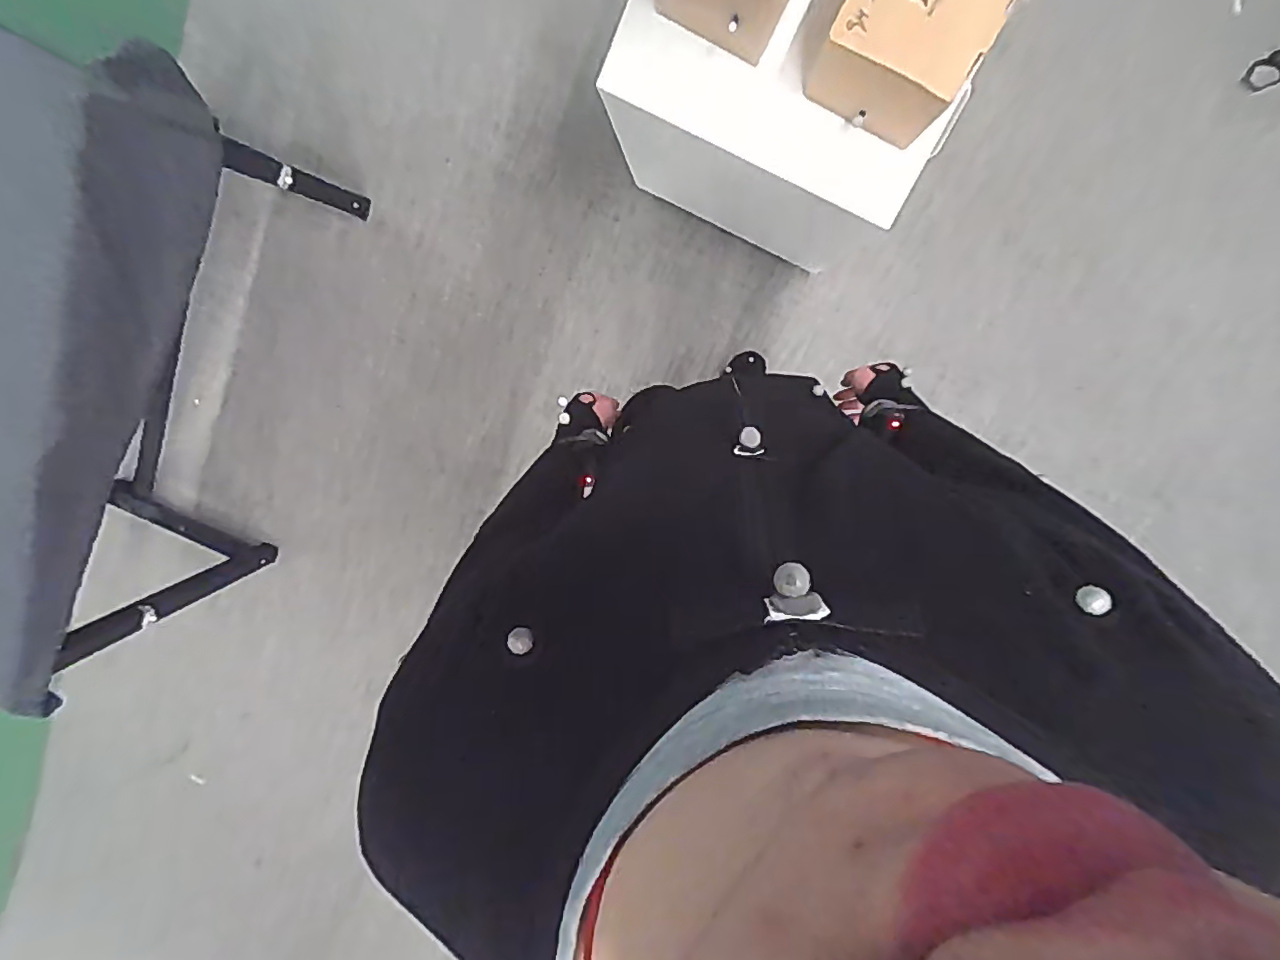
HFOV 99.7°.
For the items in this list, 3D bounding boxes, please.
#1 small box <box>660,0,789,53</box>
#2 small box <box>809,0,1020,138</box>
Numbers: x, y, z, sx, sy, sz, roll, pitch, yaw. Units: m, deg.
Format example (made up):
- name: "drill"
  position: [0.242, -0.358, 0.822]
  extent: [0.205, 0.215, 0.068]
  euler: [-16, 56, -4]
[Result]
- name: "small box"
  position: [0.130, -0.701, 0.693]
  extent: [0.179, 0.176, 0.168]
  euler: [27, 104, -2]
- name: "small box"
  position: [0.350, -0.582, 0.702]
  extent: [0.179, 0.176, 0.168]
  euler: [28, 105, -2]
